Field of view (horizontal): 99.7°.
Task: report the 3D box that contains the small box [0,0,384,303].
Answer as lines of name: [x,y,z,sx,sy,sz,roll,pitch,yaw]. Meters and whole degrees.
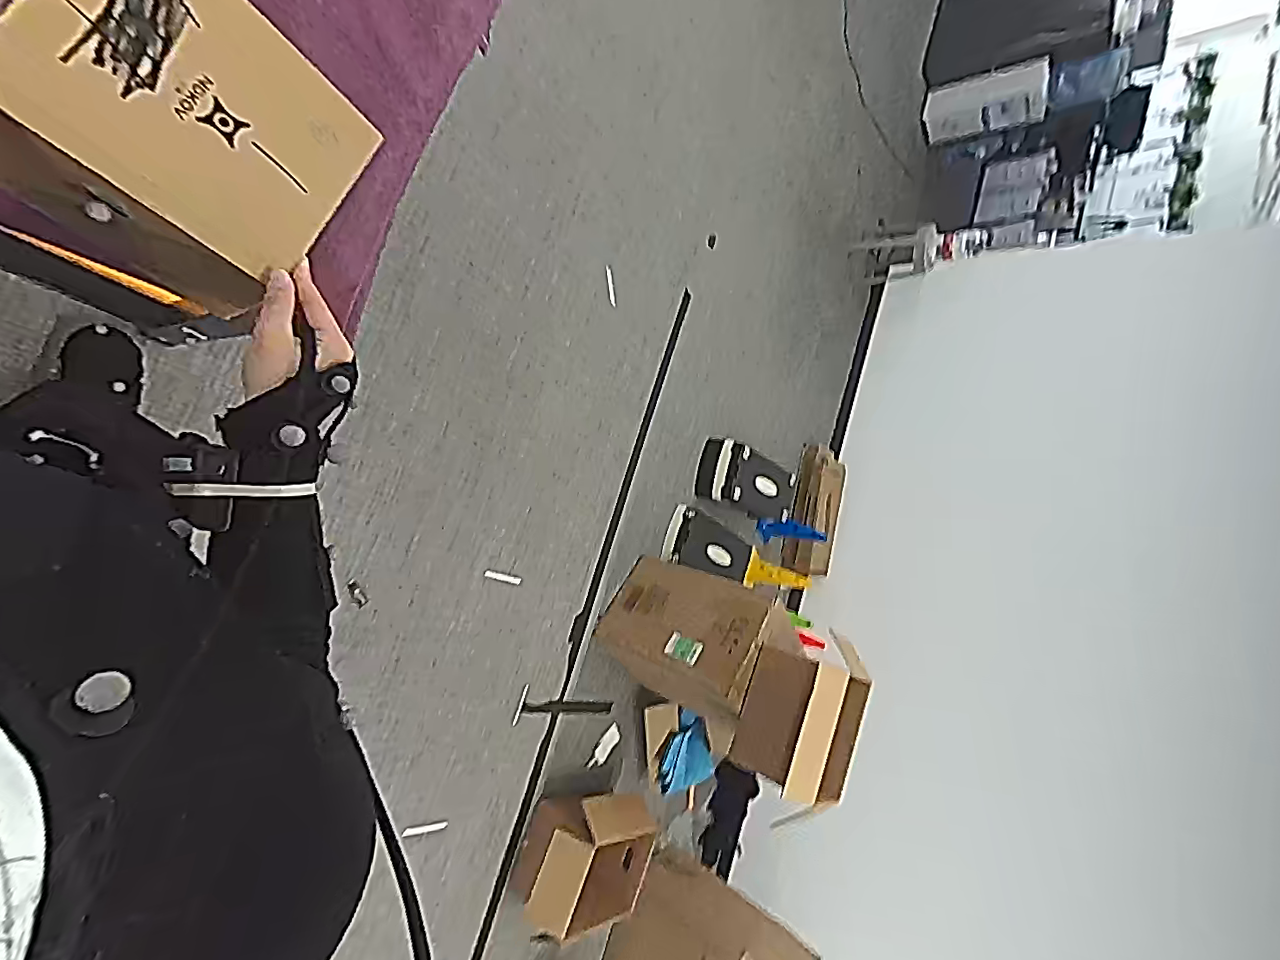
small box: [-0.350,-0.260,0.421,0.179,0.176,0.168,39,66,-45]
